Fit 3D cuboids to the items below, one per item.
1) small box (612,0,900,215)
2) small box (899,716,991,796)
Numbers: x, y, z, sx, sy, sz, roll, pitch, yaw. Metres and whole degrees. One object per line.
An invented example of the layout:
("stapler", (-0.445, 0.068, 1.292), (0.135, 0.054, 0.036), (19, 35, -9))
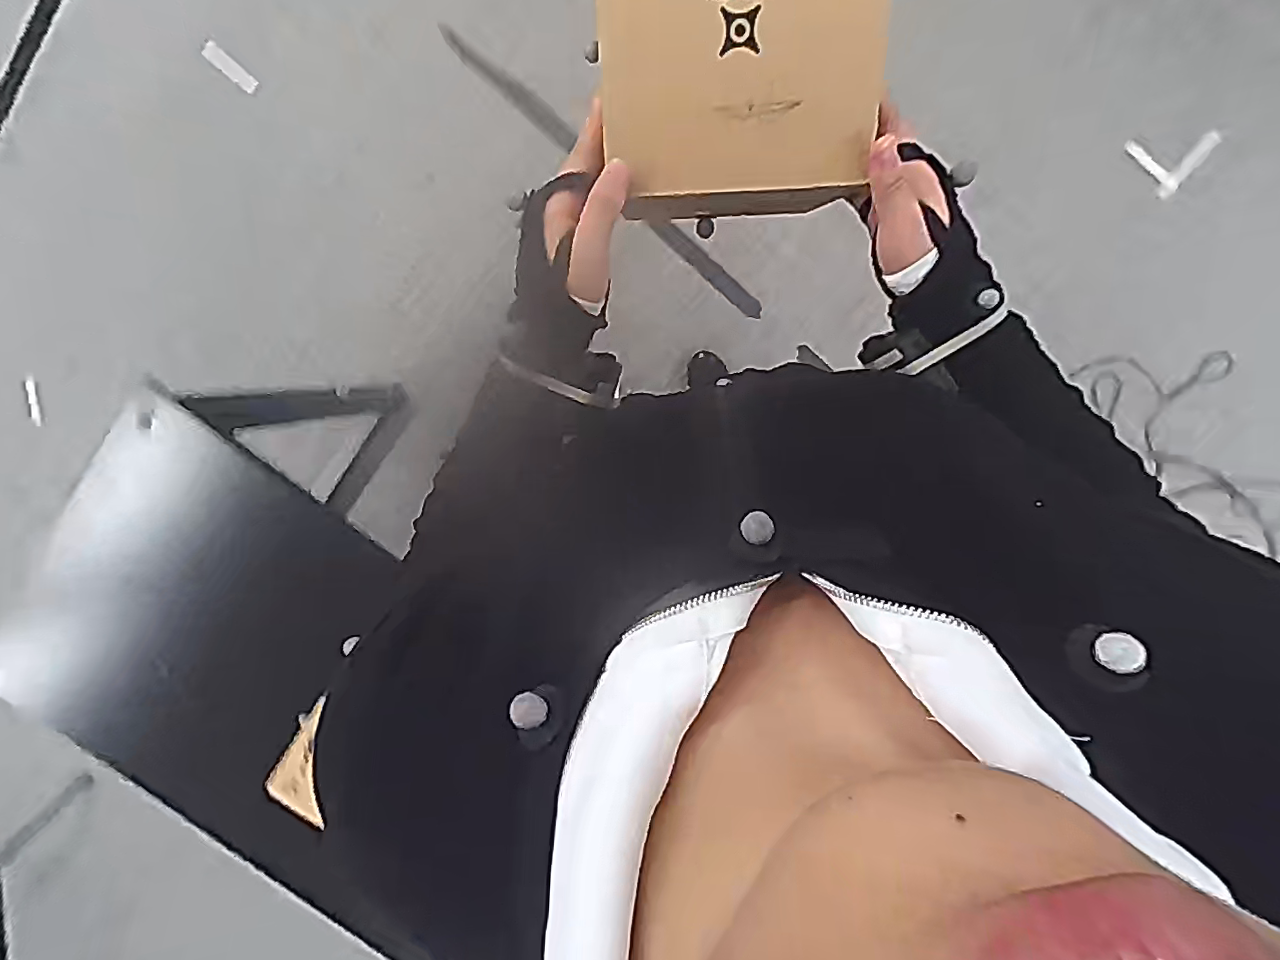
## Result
("small box", (0.069, -0.295, 0.383), (0.168, 0.176, 0.179), (0, 111, 4))
("small box", (0.869, 0.817, 1.533), (0.179, 0.176, 0.168), (-42, 97, 9))
